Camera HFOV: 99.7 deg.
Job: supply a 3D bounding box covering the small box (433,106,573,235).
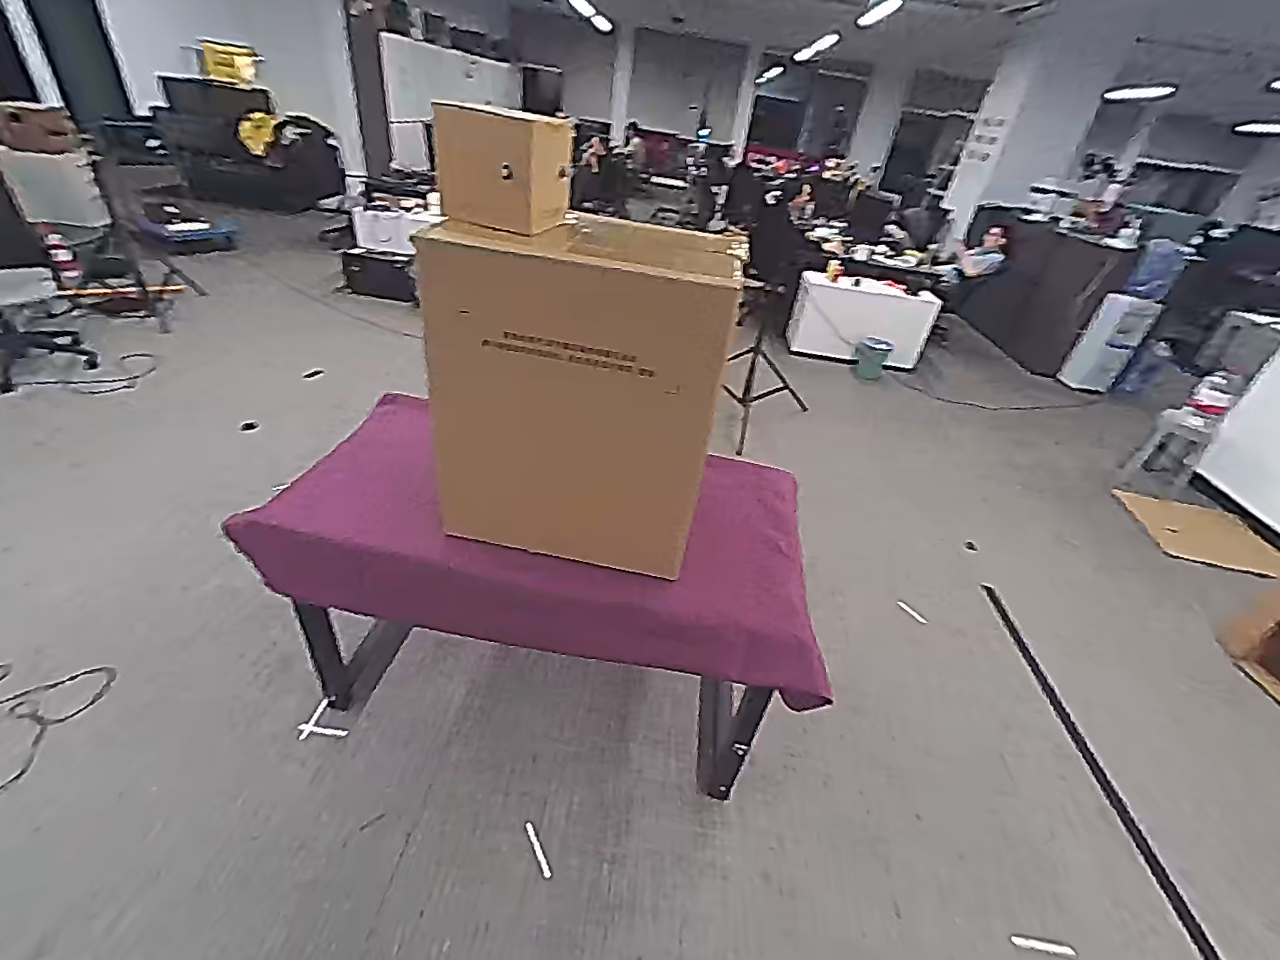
[{"bbox_3d":[-0.232,-0.535,0.941,0.179,0.176,0.168,15,34,9],"label":"small box"}]
